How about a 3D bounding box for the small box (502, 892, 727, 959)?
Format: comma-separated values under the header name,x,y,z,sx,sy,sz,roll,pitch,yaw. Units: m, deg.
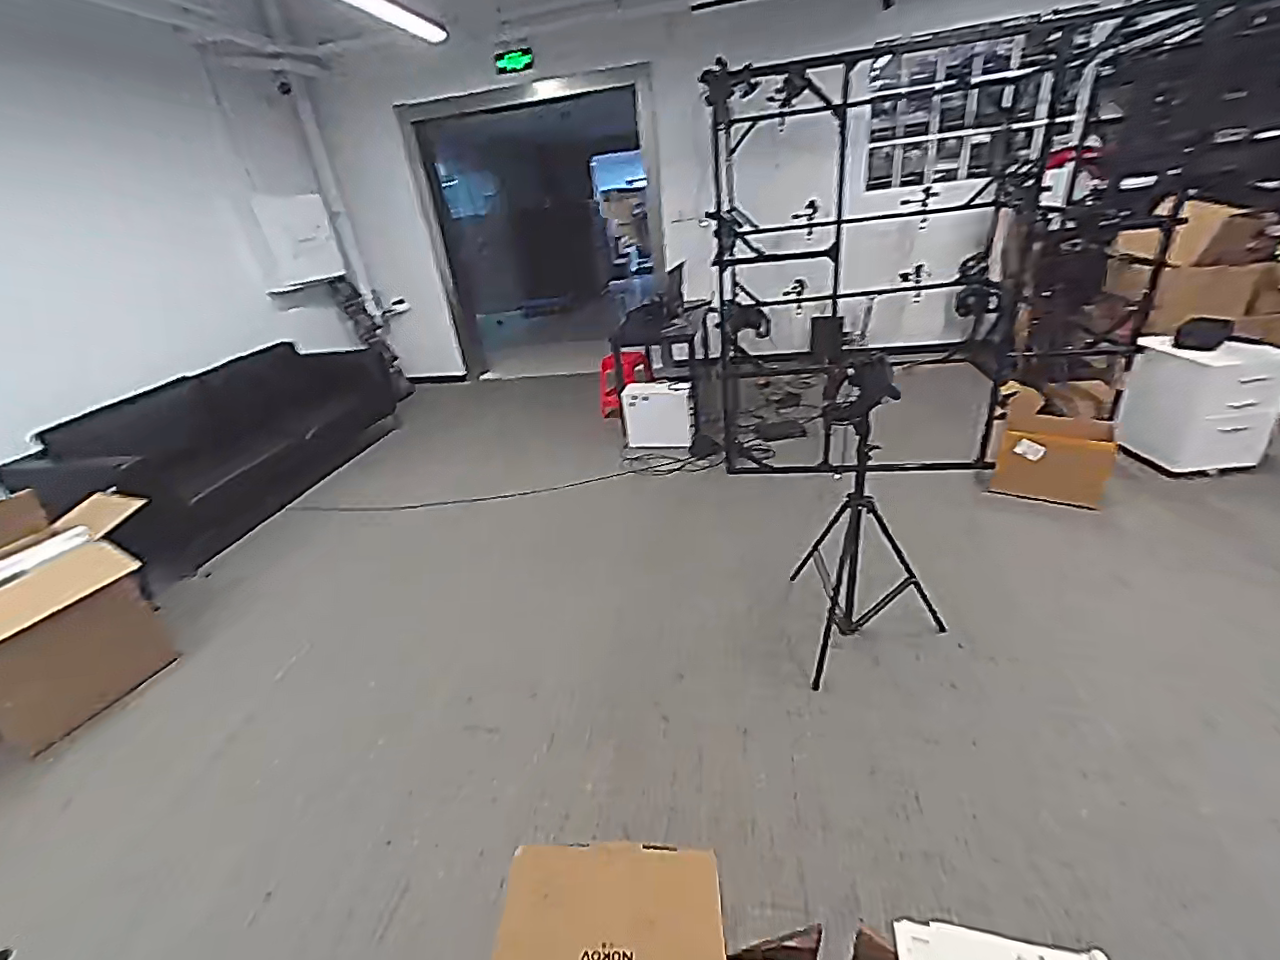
name,x,y,z,sx,sy,sz,roll,pitch,yaw
small box,-0.020,0.438,0.380,0.168,0.176,0.179,0,23,2
